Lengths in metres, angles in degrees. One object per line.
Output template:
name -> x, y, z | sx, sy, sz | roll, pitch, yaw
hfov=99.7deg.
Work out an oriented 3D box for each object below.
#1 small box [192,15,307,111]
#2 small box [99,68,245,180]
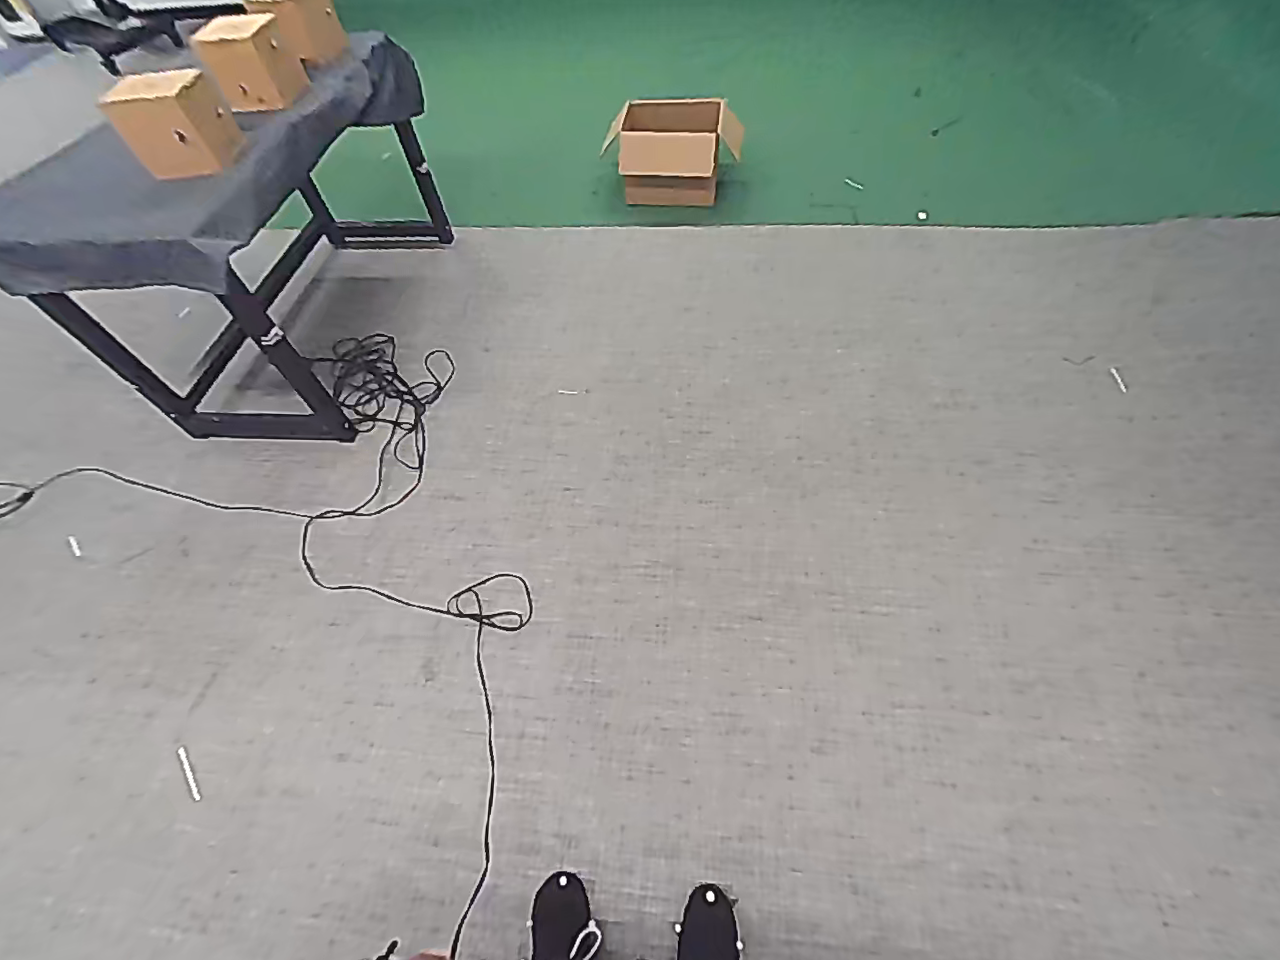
small box -> -1.068, -1.156, 1.501 | 0.168, 0.176, 0.179 | 0, 57, 4
small box -> -1.100, -0.847, 1.291 | 0.179, 0.176, 0.168 | -7, 54, 1
